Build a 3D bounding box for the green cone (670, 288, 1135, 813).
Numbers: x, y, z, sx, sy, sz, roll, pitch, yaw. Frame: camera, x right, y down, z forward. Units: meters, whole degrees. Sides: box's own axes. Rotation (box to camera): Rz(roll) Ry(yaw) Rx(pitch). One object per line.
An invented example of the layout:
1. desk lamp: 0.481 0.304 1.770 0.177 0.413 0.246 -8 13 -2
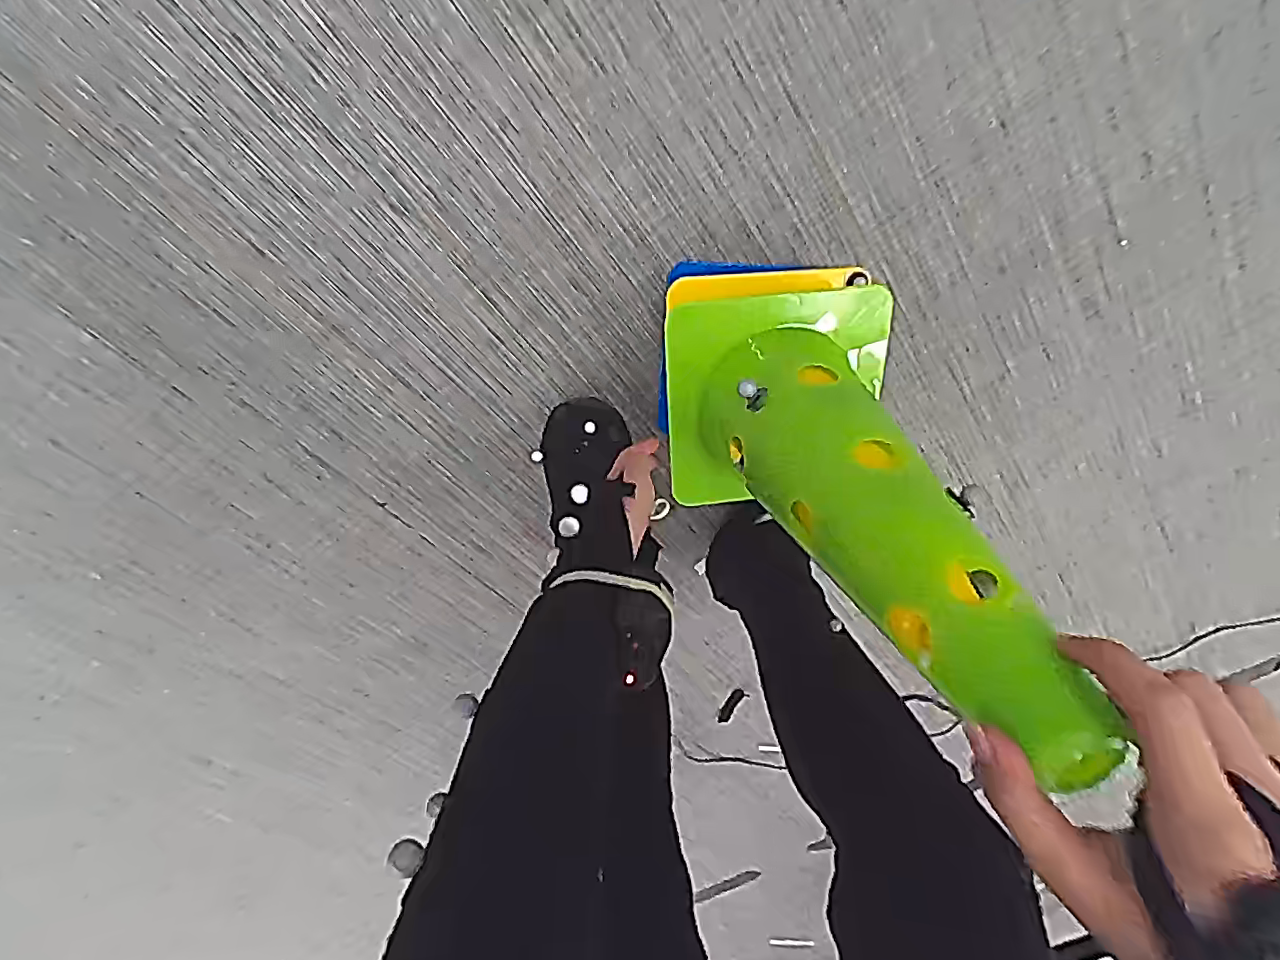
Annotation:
1. green cone: 0.145 0.016 0.345 0.202 0.368 0.200 -7 119 -2
